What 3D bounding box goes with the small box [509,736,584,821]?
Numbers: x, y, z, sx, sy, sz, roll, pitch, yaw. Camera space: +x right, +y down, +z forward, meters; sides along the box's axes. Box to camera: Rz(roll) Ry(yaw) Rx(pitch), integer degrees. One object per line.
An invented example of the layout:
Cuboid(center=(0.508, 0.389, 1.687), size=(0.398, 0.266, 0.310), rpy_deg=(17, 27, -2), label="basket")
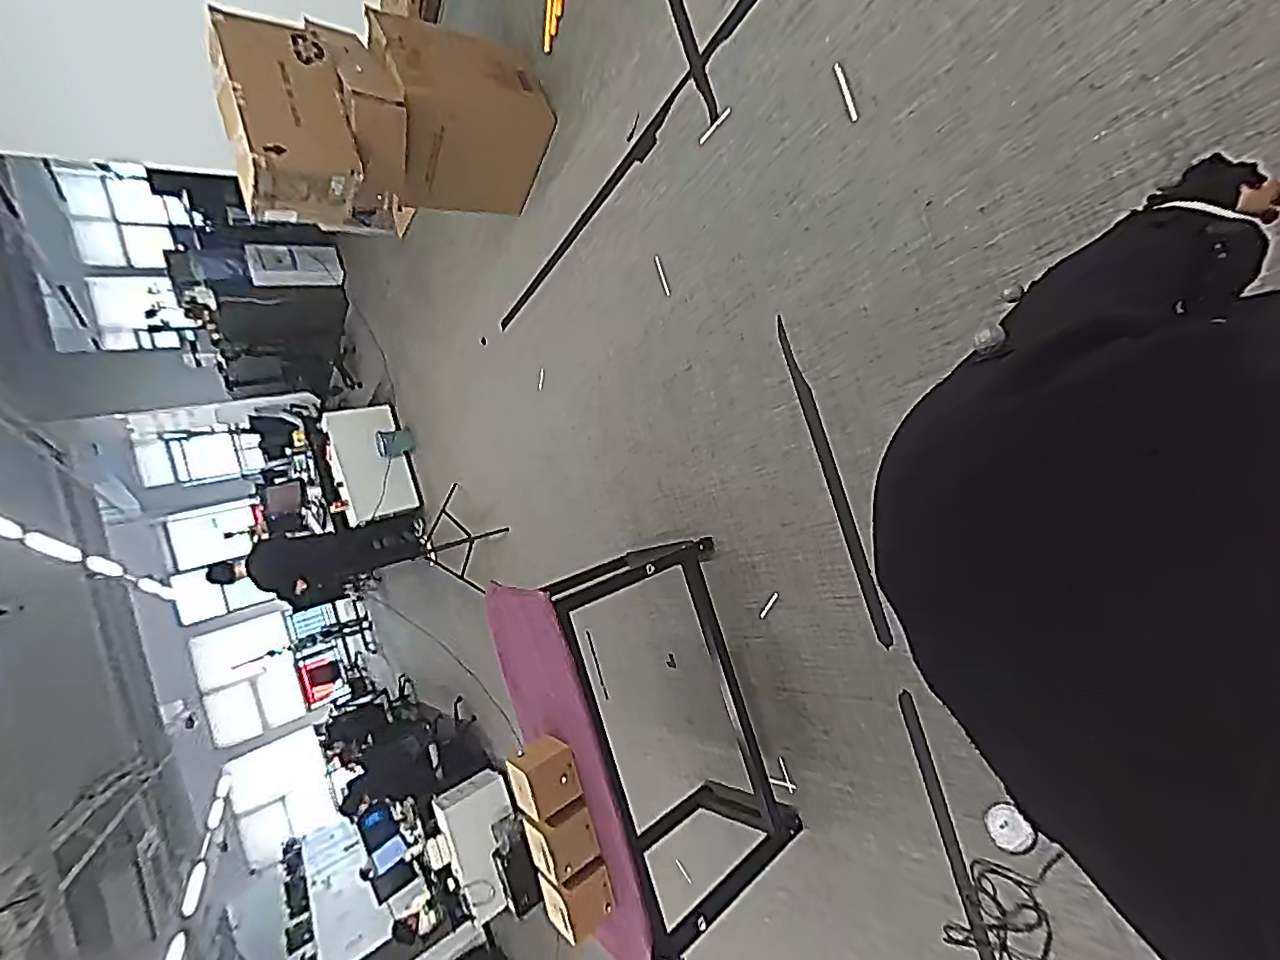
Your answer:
Cuboid(center=(-0.310, 0.983, 1.801), size=(0.179, 0.176, 0.168), rpy_deg=(-16, 91, 54), label="small box")
